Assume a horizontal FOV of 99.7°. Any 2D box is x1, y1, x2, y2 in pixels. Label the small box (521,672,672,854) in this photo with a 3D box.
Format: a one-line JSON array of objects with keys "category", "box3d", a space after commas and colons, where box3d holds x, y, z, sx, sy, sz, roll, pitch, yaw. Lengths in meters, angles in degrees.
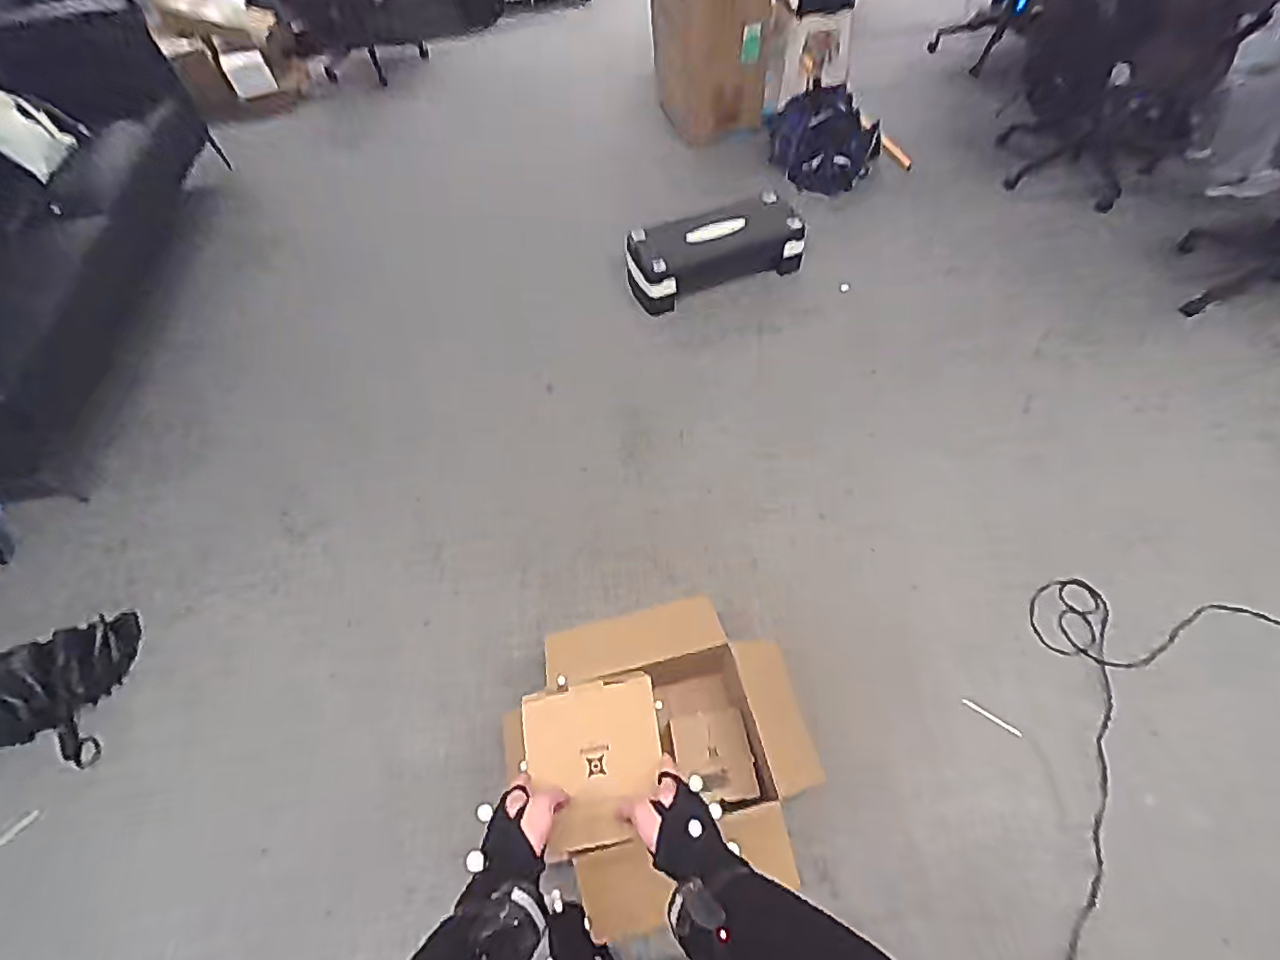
[{"category": "small box", "box3d": [-0.060, 0.361, 0.728, 0.168, 0.176, 0.179, -9, 74, -5]}]
